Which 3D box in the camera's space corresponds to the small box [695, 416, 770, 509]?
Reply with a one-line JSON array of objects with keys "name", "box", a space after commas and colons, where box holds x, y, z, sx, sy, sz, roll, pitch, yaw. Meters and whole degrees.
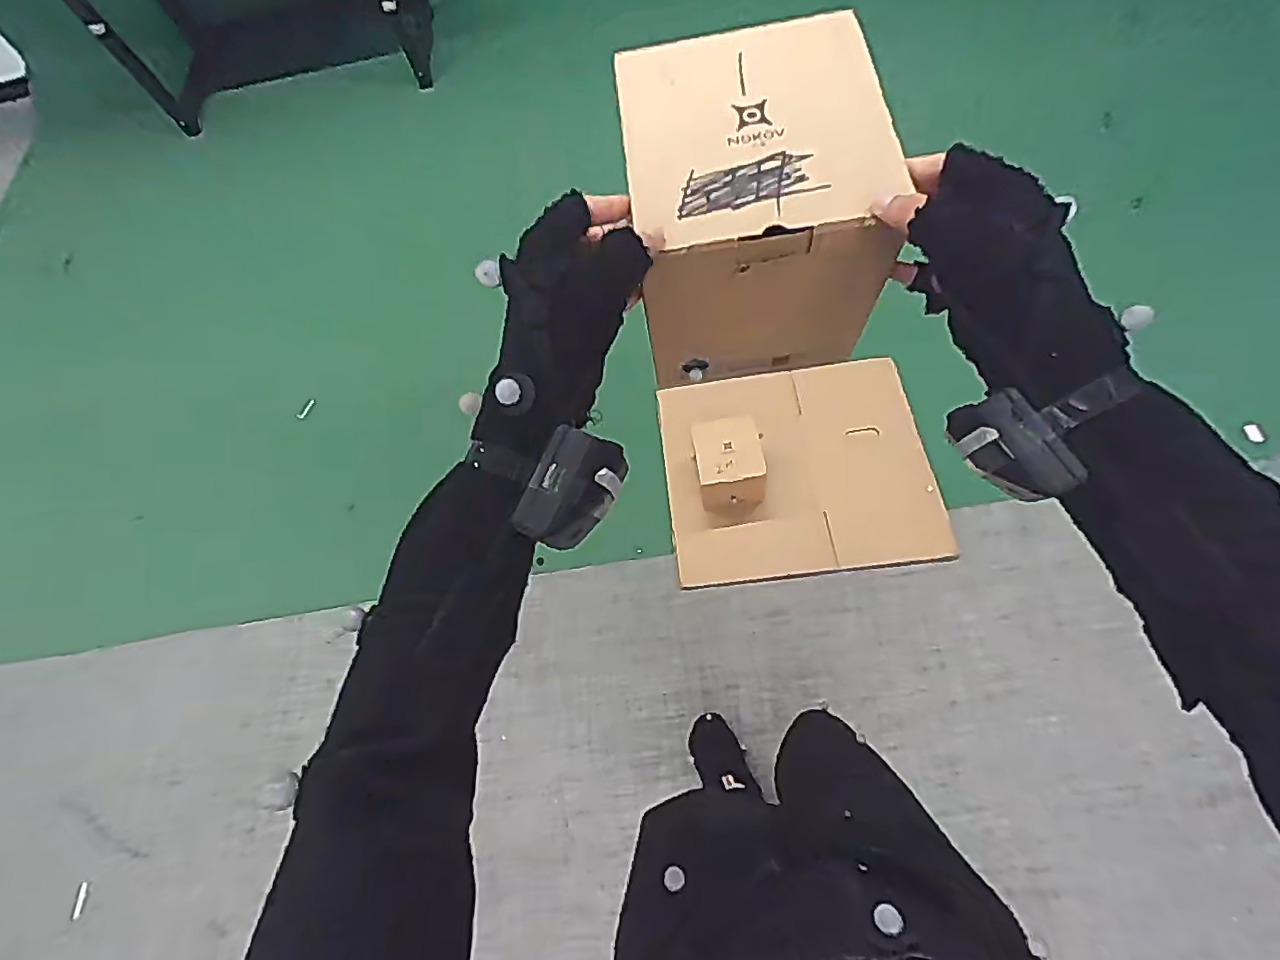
[{"name": "small box", "box": [0.239, -0.041, 1.417, 0.168, 0.176, 0.179, -10, 65, 6]}]

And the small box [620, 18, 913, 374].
[{"name": "small box", "box": [0.083, -0.197, 0.421, 0.168, 0.176, 0.179, -7, 70, 5]}]
